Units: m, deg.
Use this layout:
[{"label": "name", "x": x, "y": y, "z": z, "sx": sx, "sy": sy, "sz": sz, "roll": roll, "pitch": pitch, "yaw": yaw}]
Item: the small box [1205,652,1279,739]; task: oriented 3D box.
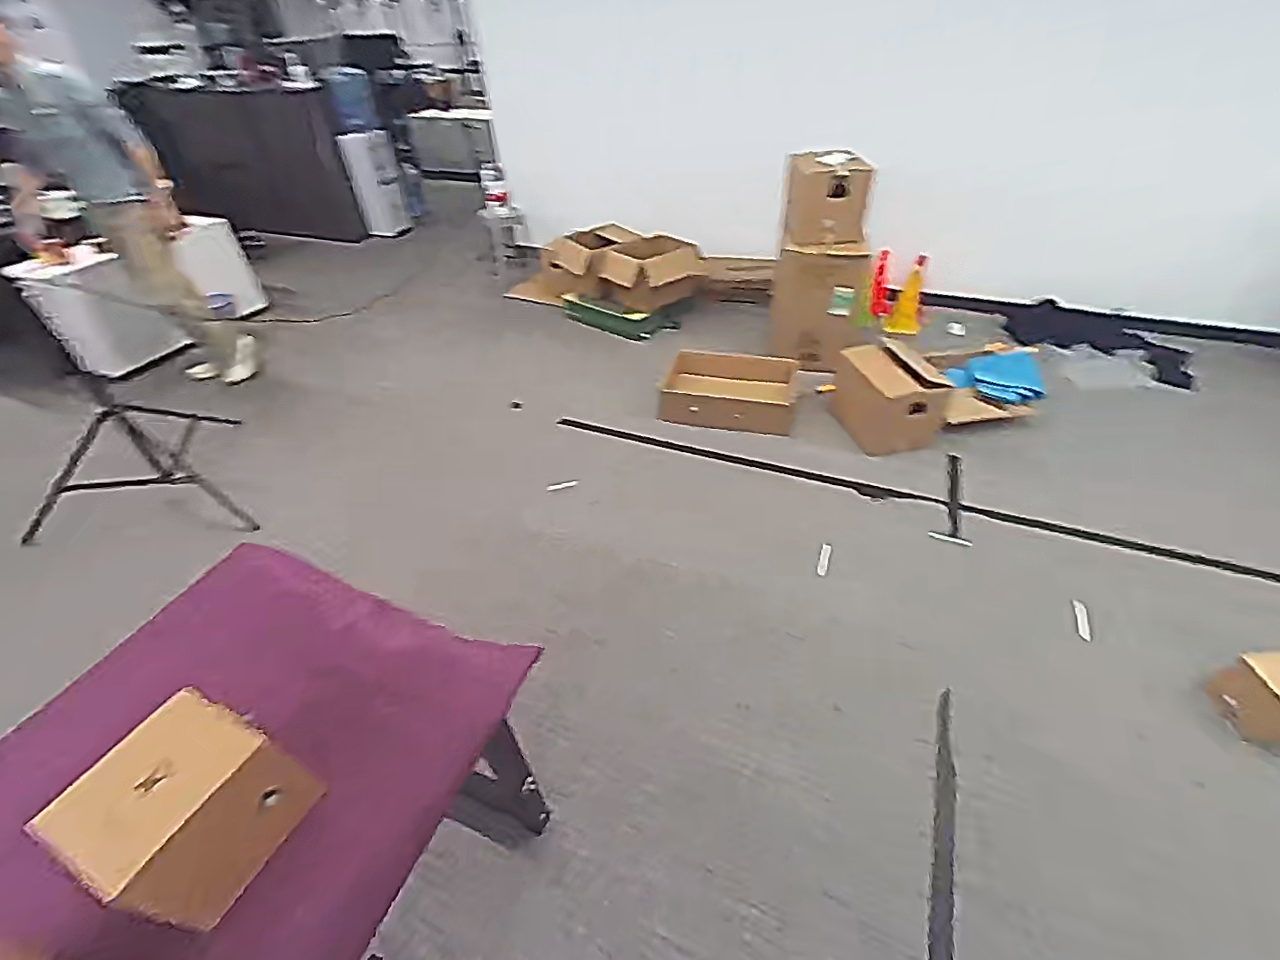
[{"label": "small box", "x": 1.700, "y": 0.576, "z": 1.441, "sx": 0.179, "sy": 0.176, "sz": 0.168, "roll": -2, "pitch": 41, "yaw": 2}]

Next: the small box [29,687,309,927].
[{"label": "small box", "x": -0.550, "y": 0.398, "z": 0.665, "sx": 0.168, "sy": 0.176, "sz": 0.179, "roll": 14, "pitch": 46, "yaw": 22}]
